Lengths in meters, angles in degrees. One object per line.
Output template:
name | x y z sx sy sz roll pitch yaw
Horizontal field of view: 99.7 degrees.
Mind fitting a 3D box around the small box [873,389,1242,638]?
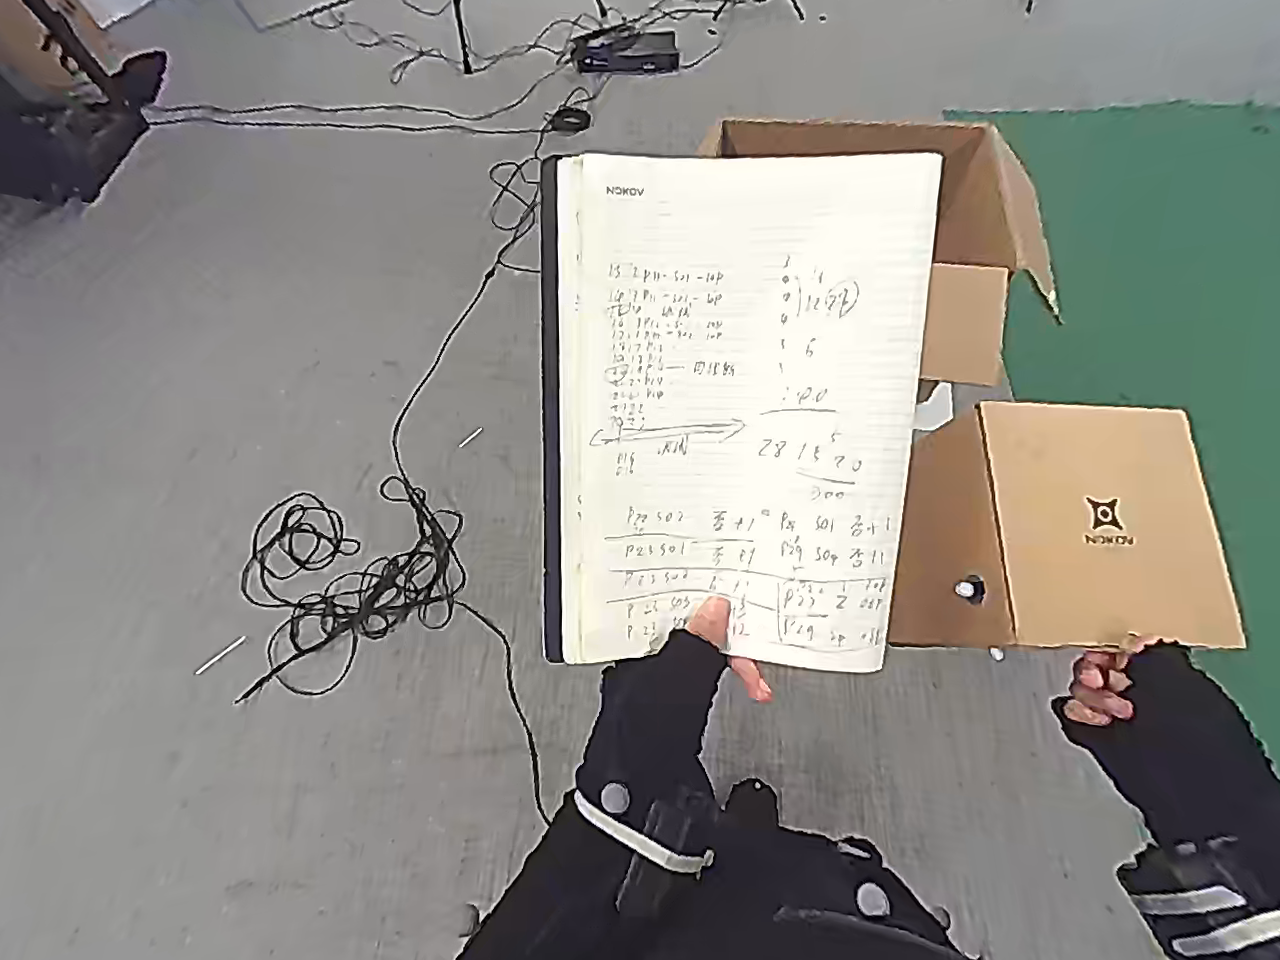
small box | 0.318 0.041 0.457 0.168 0.176 0.179 1 75 -5
